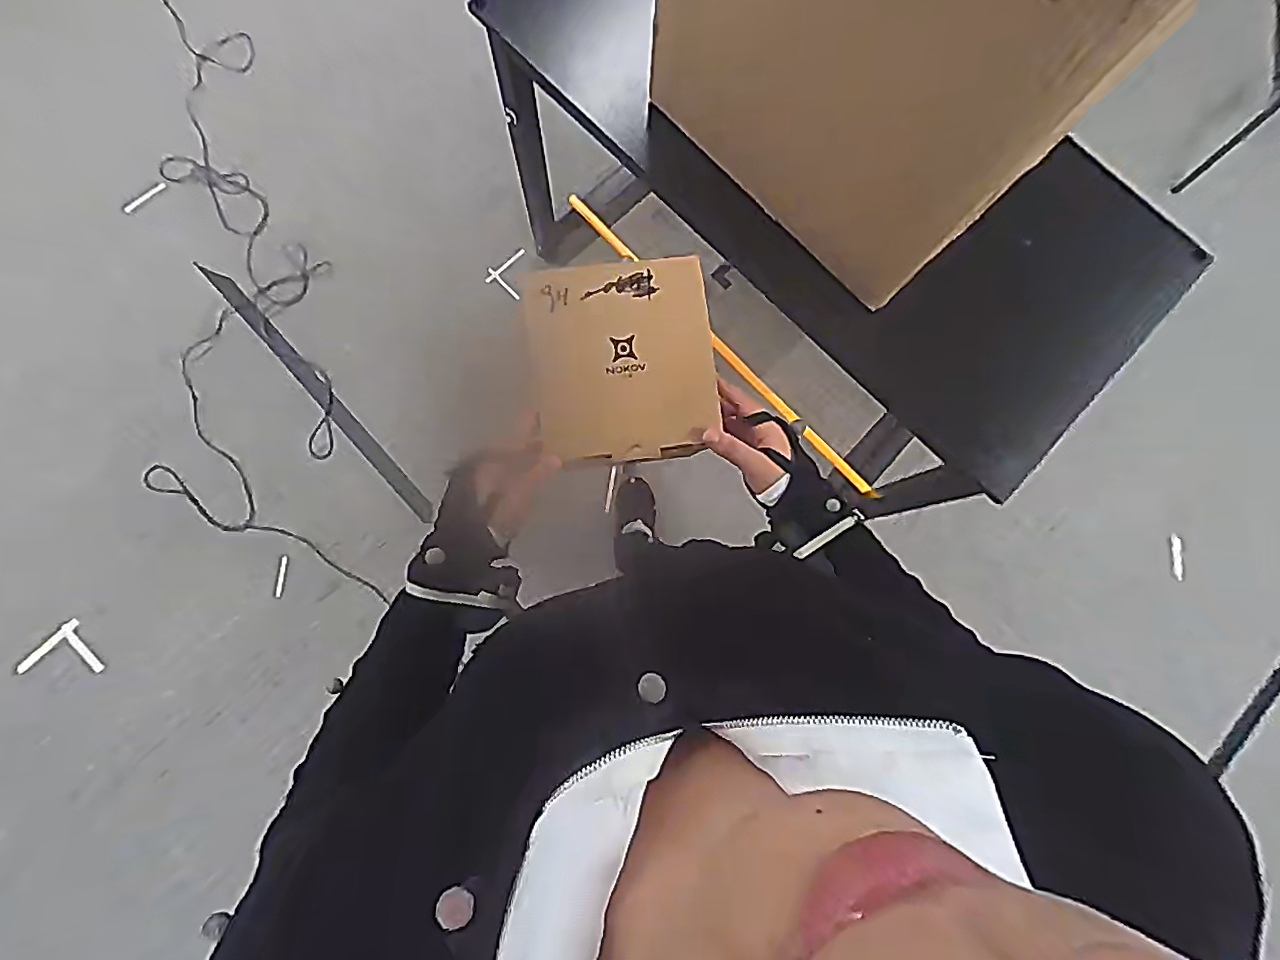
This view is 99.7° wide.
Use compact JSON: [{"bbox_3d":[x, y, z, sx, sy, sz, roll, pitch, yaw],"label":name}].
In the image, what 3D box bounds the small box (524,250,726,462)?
[{"bbox_3d":[-0.018,-0.113,0.559,0.168,0.176,0.179,-8,90,-6],"label":"small box"}]
